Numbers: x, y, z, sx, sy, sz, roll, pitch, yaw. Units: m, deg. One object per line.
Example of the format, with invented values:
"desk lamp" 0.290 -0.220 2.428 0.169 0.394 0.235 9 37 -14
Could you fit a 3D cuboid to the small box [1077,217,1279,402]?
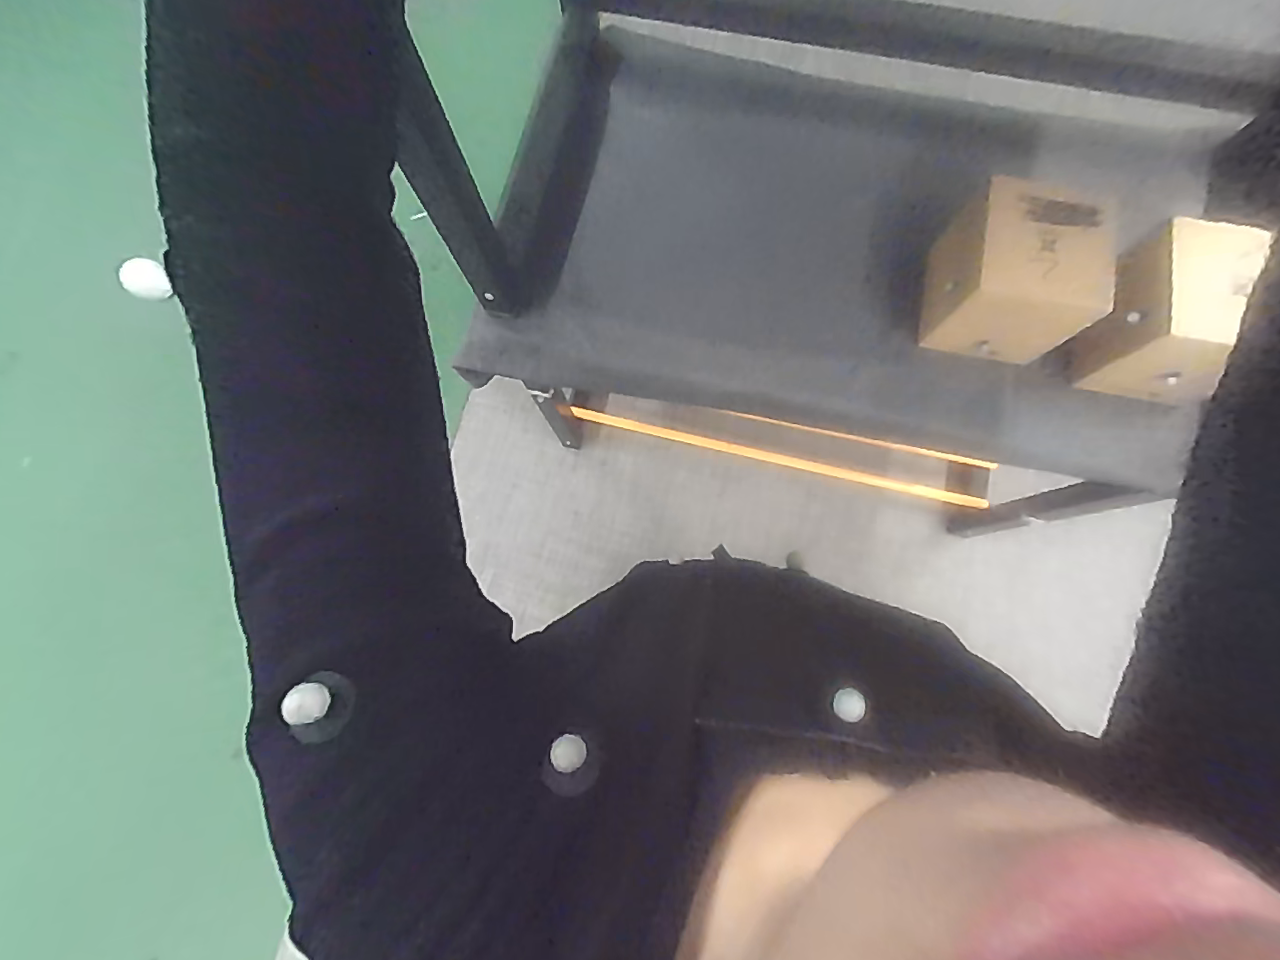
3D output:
"small box" 0.757 -0.226 0.756 0.168 0.176 0.179 12 77 4
